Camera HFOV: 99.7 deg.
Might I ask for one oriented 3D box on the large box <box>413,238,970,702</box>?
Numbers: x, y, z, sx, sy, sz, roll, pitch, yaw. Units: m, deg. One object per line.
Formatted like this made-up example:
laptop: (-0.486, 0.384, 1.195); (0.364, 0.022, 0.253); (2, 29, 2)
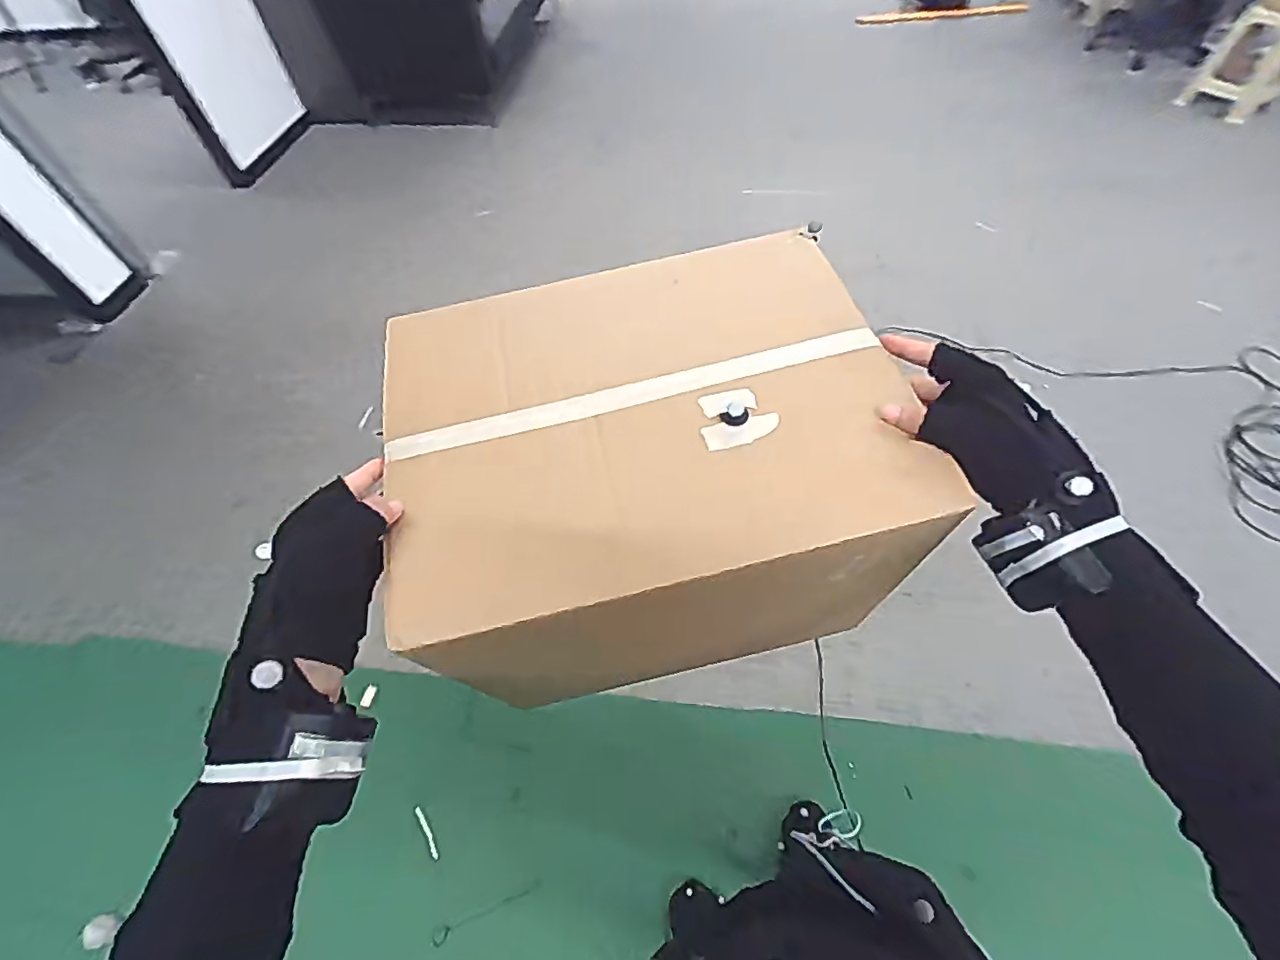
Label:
large box: (0.021, 0.009, 0.575); (0.408, 0.320, 0.320); (-13, 61, -3)
